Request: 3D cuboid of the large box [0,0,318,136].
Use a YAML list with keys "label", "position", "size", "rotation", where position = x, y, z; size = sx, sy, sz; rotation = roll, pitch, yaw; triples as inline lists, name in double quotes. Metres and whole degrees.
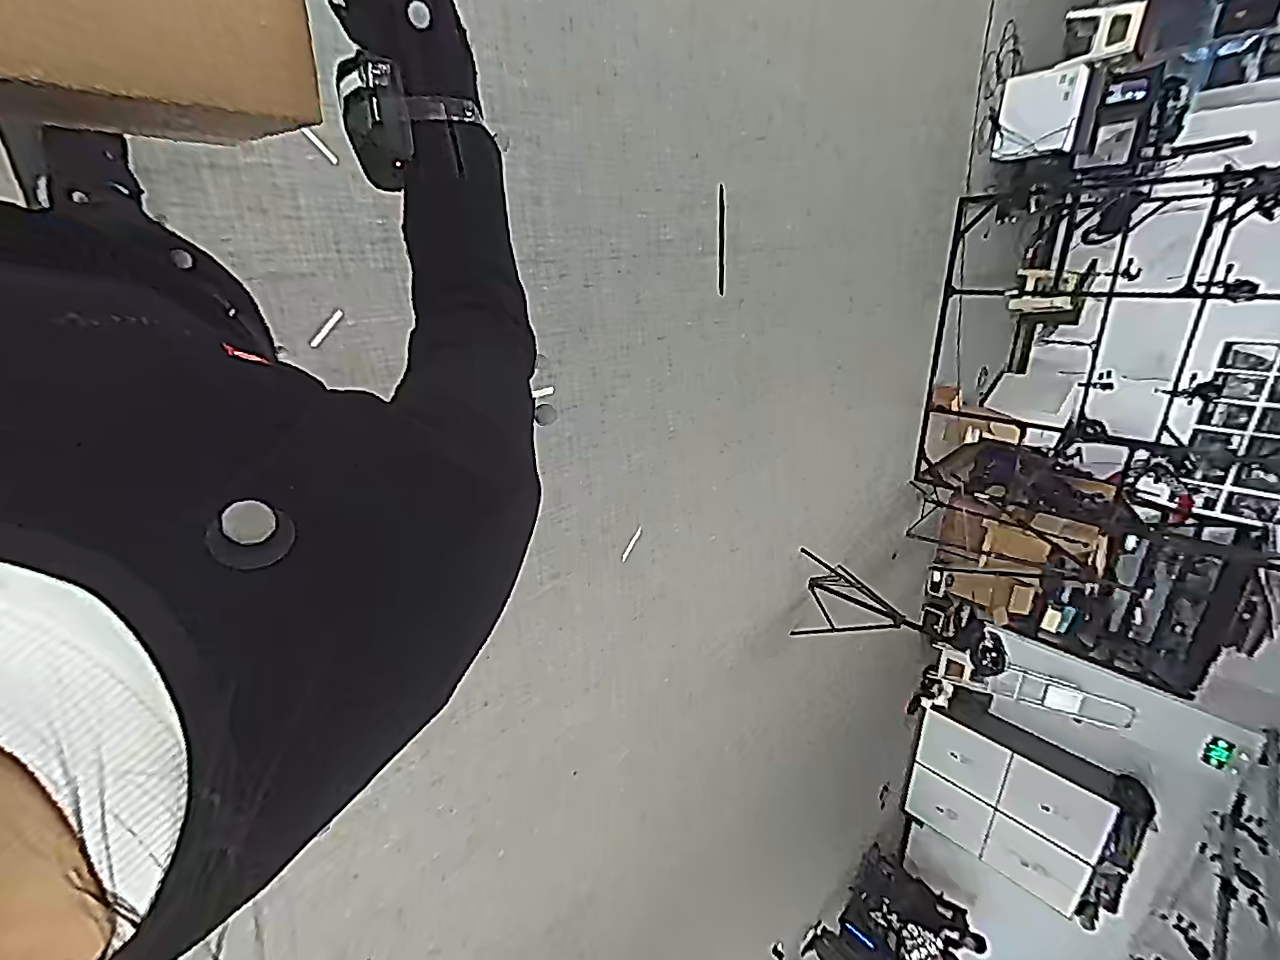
- label: "large box"
  position: [-0.453, -0.378, 0.265]
  size: [0.408, 0.320, 0.320]
  rotation: [-20, 126, -39]
